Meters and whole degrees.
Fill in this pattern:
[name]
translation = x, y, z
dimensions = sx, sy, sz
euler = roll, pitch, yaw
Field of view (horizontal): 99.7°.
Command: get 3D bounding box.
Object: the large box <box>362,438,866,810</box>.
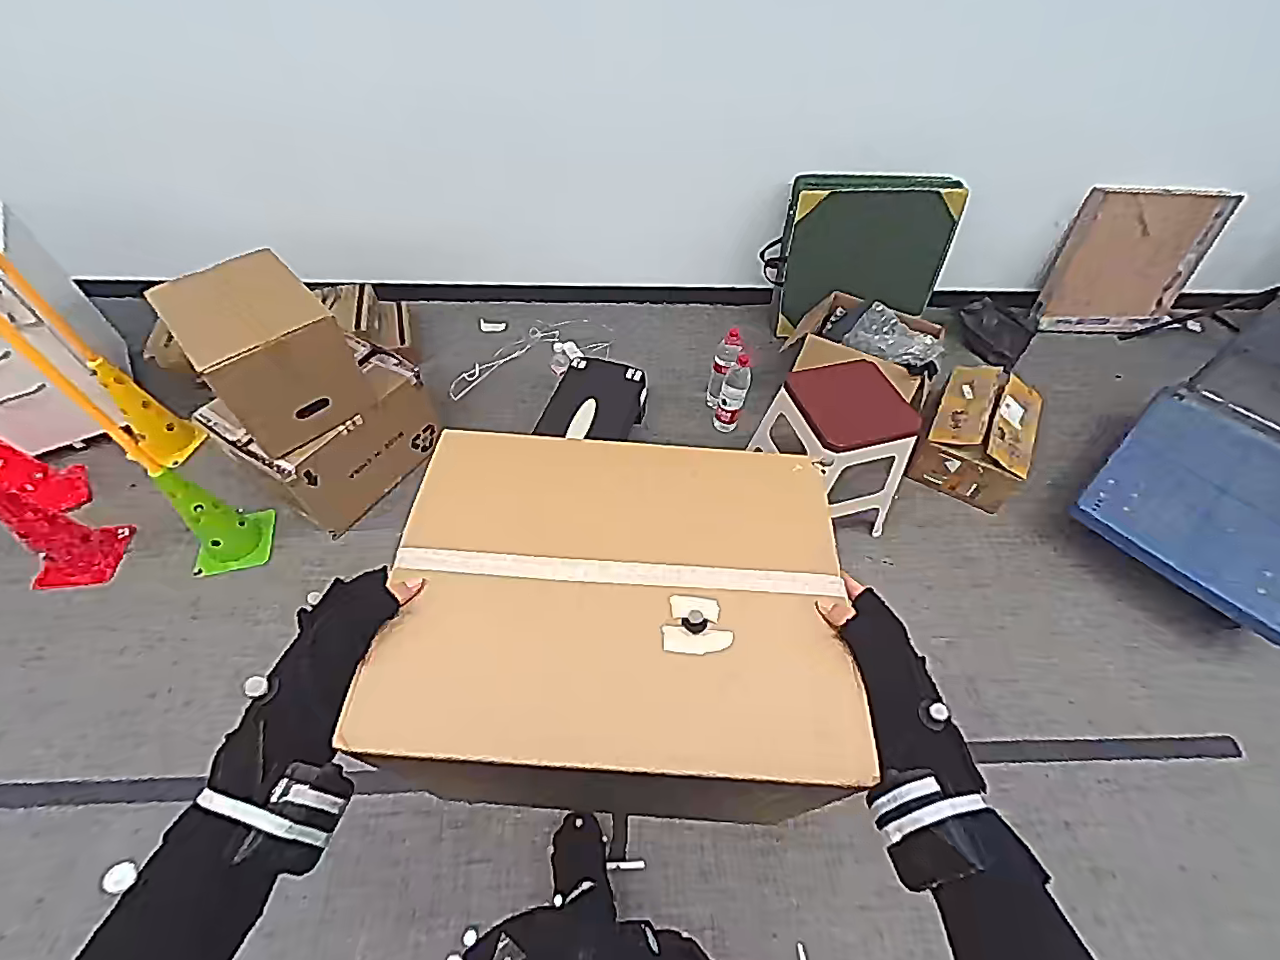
[large box]
translation = -0.021, 0.176, 0.625
dimensions = 0.408, 0.320, 0.320
euler = 4, 53, 0
